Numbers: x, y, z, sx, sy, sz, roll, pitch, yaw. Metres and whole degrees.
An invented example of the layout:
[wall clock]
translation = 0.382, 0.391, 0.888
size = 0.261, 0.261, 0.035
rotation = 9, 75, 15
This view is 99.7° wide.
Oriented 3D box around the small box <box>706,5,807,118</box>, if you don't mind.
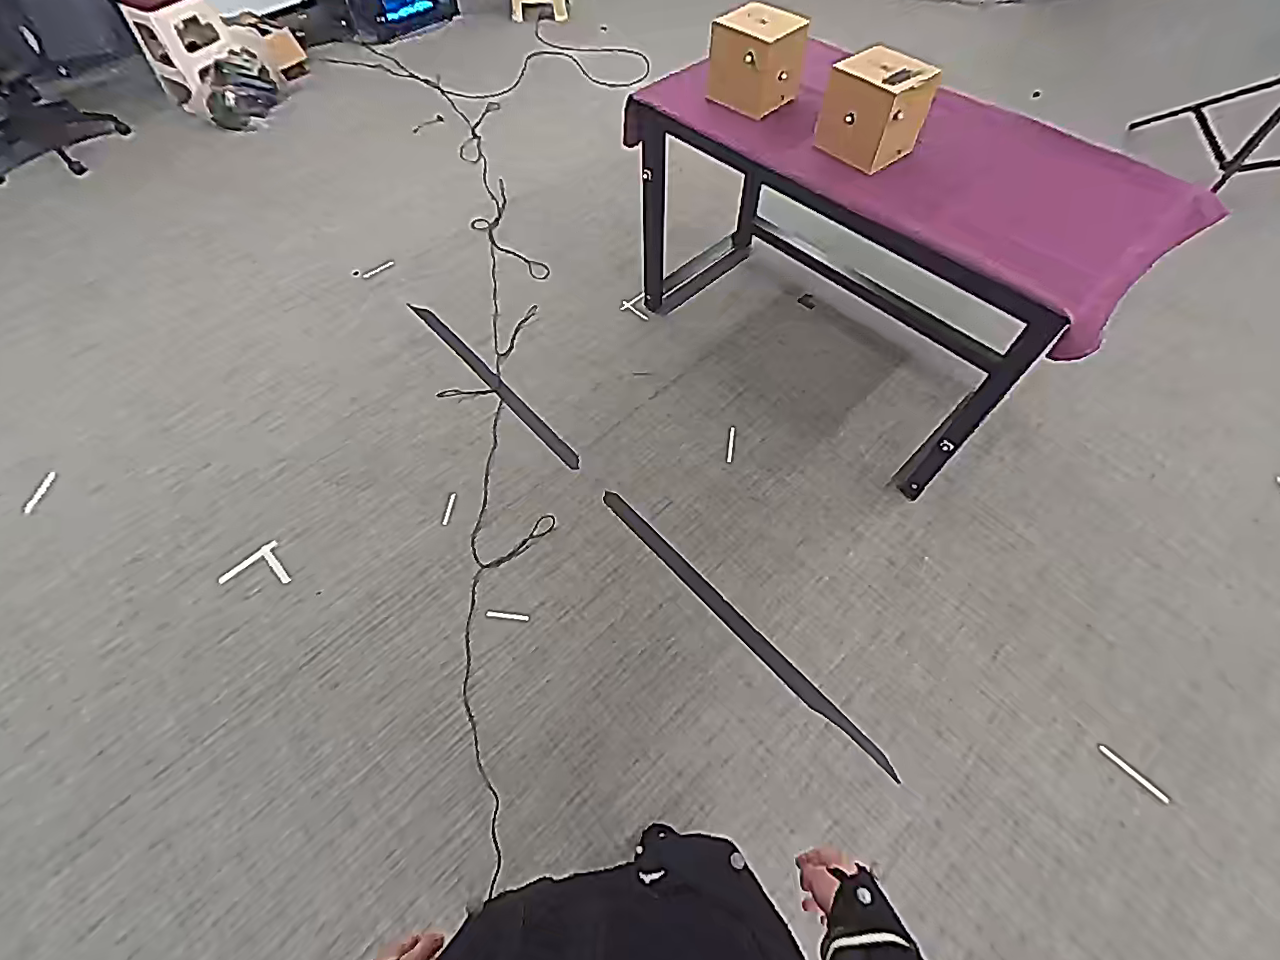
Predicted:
[small box]
translation = 0.286, -1.049, 1.363
size = 0.179, 0.176, 0.168
rotation = 39, 66, 22
